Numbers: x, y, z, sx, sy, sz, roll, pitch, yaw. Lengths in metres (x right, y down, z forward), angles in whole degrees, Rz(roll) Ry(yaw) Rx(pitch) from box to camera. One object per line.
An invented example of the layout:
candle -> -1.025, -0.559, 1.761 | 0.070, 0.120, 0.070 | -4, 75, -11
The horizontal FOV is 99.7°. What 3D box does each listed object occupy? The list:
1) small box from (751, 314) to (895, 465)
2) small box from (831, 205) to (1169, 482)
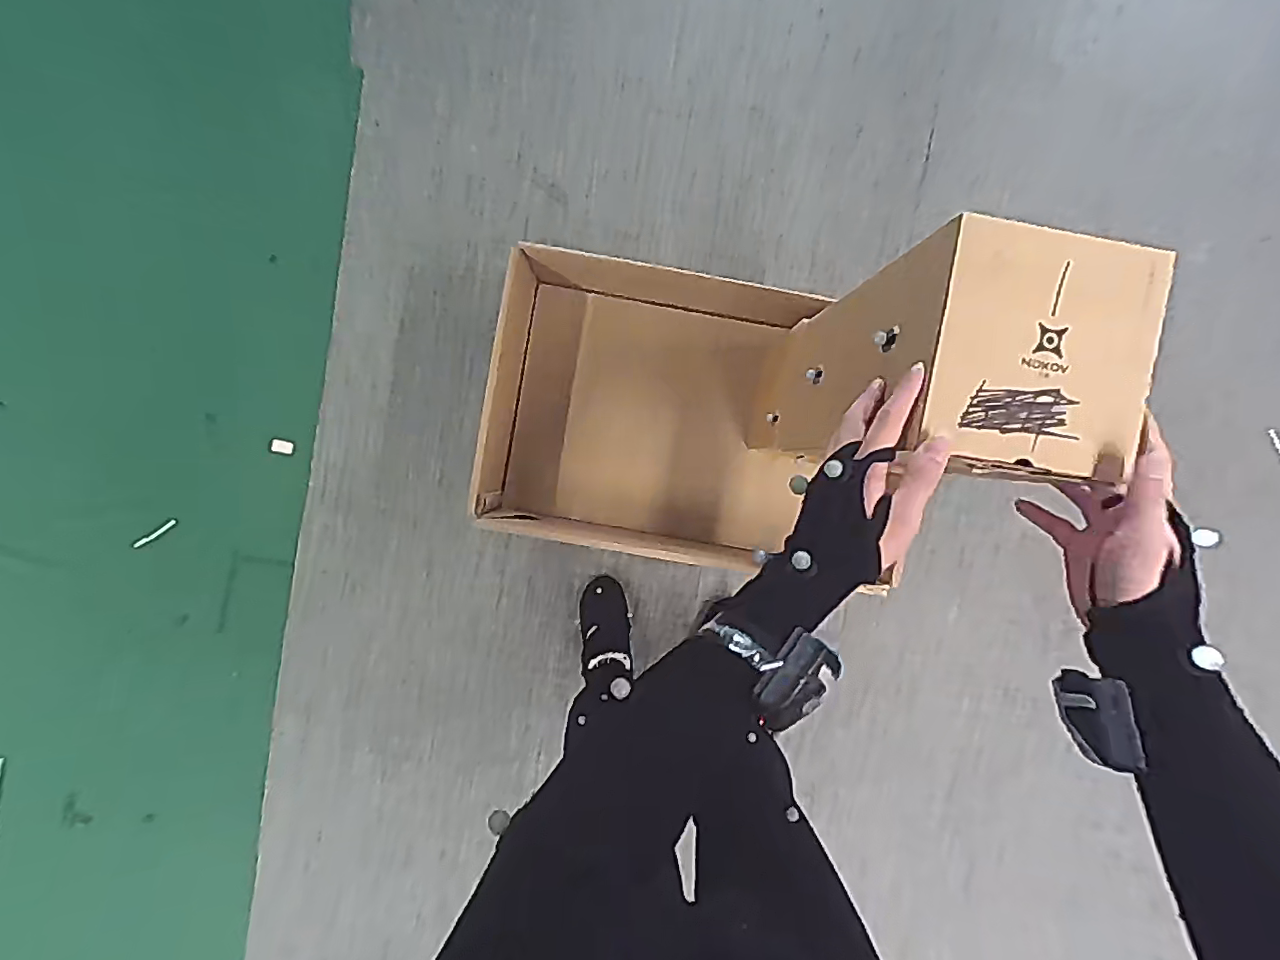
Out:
small box -> 0.274, -0.123, 0.798 | 0.168, 0.176, 0.179 | 11, 93, -2
small box -> 0.285, -0.101, 0.471 | 0.168, 0.176, 0.179 | 10, 92, -3
